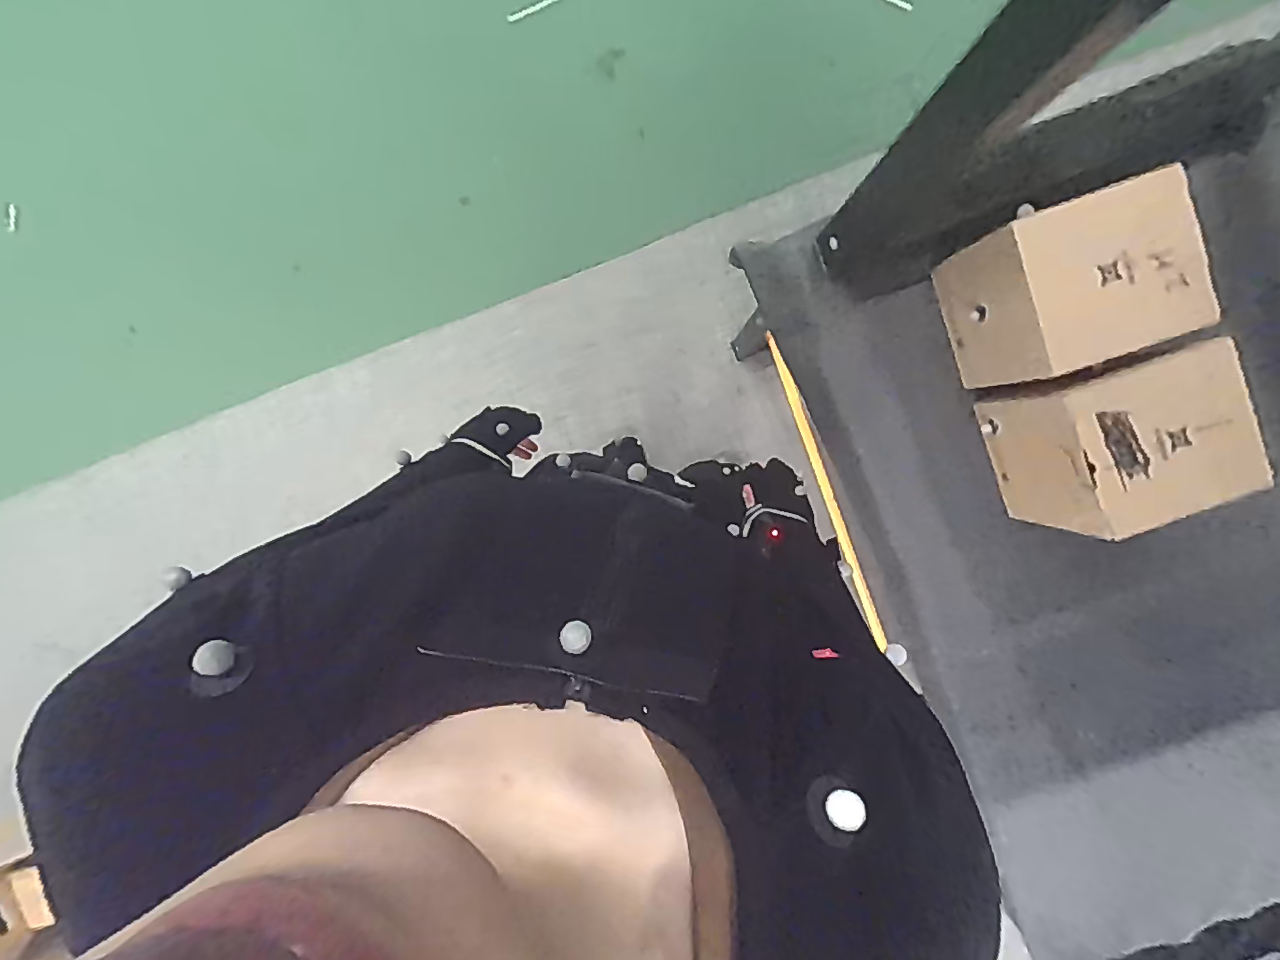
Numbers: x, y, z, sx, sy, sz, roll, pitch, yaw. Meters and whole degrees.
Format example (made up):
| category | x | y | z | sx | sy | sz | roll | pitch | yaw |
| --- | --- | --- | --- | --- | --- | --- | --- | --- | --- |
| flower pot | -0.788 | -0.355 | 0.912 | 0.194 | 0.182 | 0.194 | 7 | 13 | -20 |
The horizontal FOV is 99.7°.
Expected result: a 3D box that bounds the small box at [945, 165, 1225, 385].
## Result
| category | x | y | z | sx | sy | sz | roll | pitch | yaw |
| --- | --- | --- | --- | --- | --- | --- | --- | --- | --- |
| small box | 0.483 | -0.215 | 0.620 | 0.179 | 0.176 | 0.168 | -18 | 95 | 3 |
